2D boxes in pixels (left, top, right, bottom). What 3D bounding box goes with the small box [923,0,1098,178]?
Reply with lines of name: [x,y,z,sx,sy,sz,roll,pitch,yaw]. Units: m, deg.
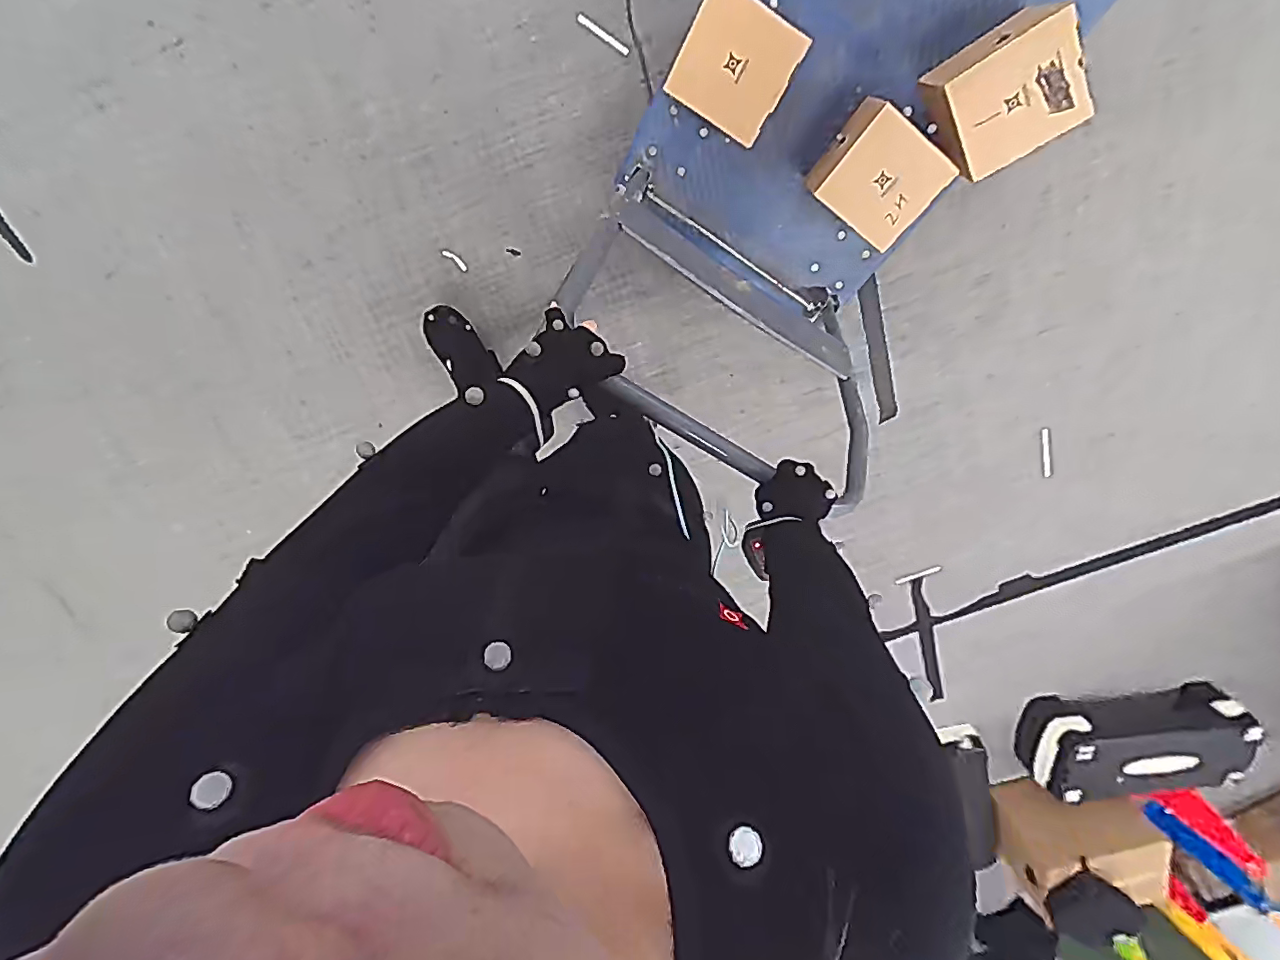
small box: [0.602,-0.643,0.894,0.179,0.176,0.168,-24,120,28]

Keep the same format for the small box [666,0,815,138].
small box: [0.163,-0.716,0.912,0.179,0.176,0.168,26,128,-13]

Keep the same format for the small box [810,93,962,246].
small box: [0.433,-0.566,0.984,0.179,0.176,0.168,32,127,-15]
